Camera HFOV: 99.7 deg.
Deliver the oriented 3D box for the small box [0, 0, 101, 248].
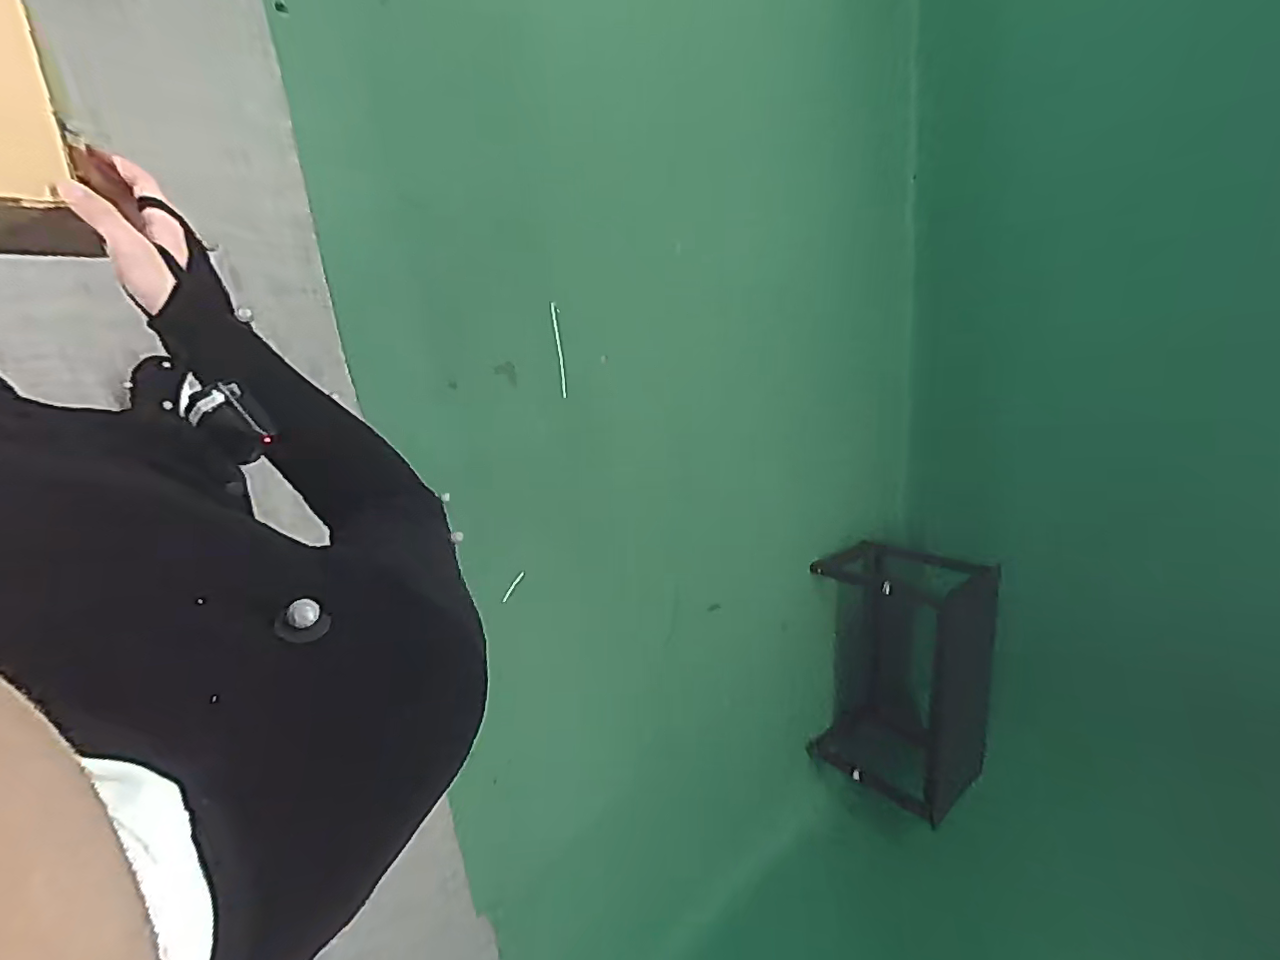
[{"bbox_3d":[-0.558,-0.288,0.414,0.168,0.176,0.179,-15,104,-36],"label":"small box"}]
